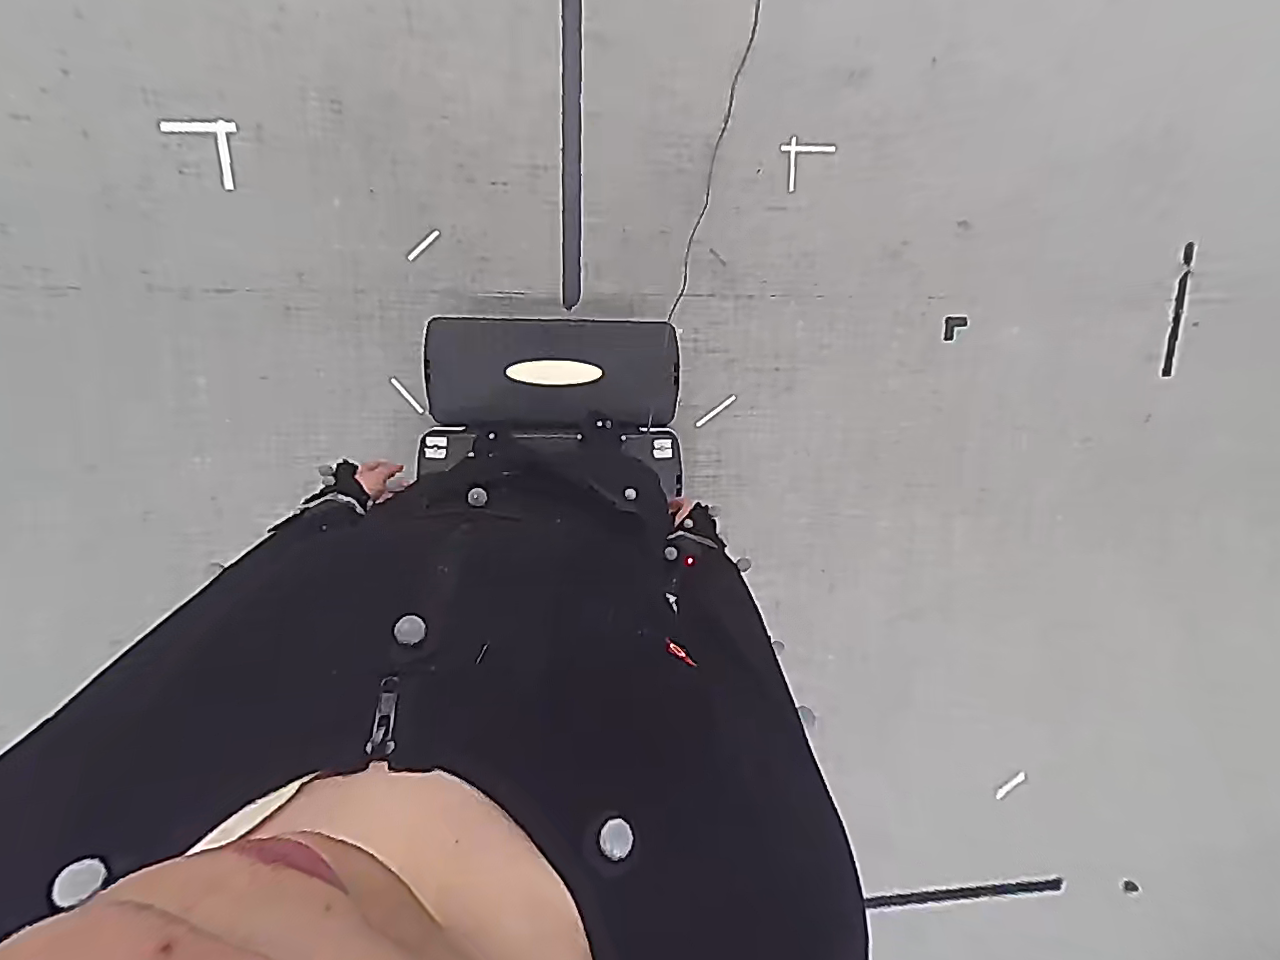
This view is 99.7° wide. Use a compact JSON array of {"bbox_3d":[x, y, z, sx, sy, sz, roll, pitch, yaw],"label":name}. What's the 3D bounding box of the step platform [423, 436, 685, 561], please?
[{"bbox_3d":[-0.219,0.048,1.456,0.684,0.204,0.286,4,97,-5],"label":"step platform"}]
